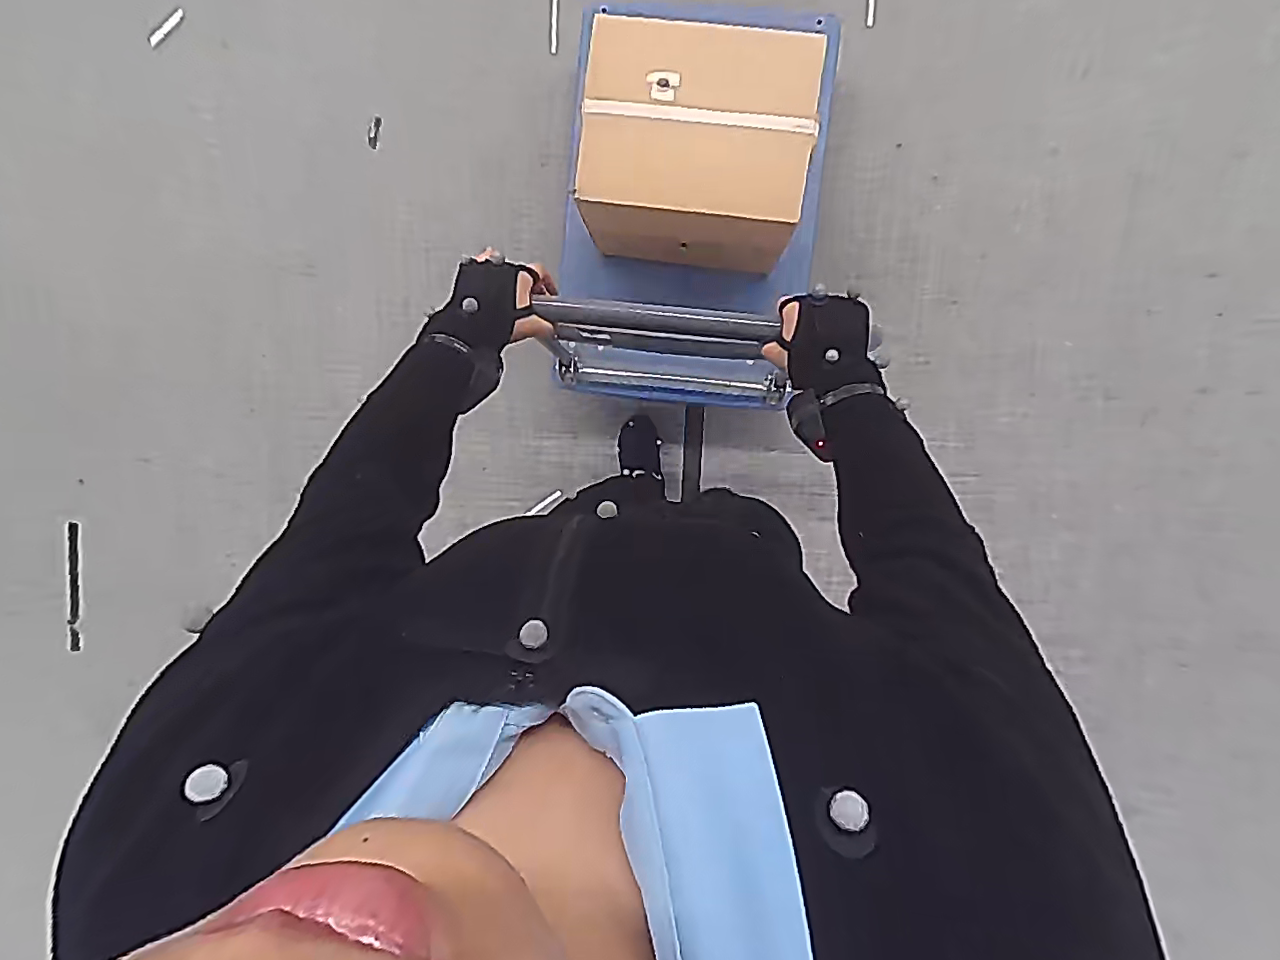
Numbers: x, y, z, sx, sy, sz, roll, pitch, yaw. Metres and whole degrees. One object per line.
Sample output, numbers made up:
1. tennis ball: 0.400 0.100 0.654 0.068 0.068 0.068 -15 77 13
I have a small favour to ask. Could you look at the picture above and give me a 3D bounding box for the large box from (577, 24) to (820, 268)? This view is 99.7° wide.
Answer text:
1. large box: 0.113 -0.648 1.104 0.408 0.320 0.320 8 94 4
